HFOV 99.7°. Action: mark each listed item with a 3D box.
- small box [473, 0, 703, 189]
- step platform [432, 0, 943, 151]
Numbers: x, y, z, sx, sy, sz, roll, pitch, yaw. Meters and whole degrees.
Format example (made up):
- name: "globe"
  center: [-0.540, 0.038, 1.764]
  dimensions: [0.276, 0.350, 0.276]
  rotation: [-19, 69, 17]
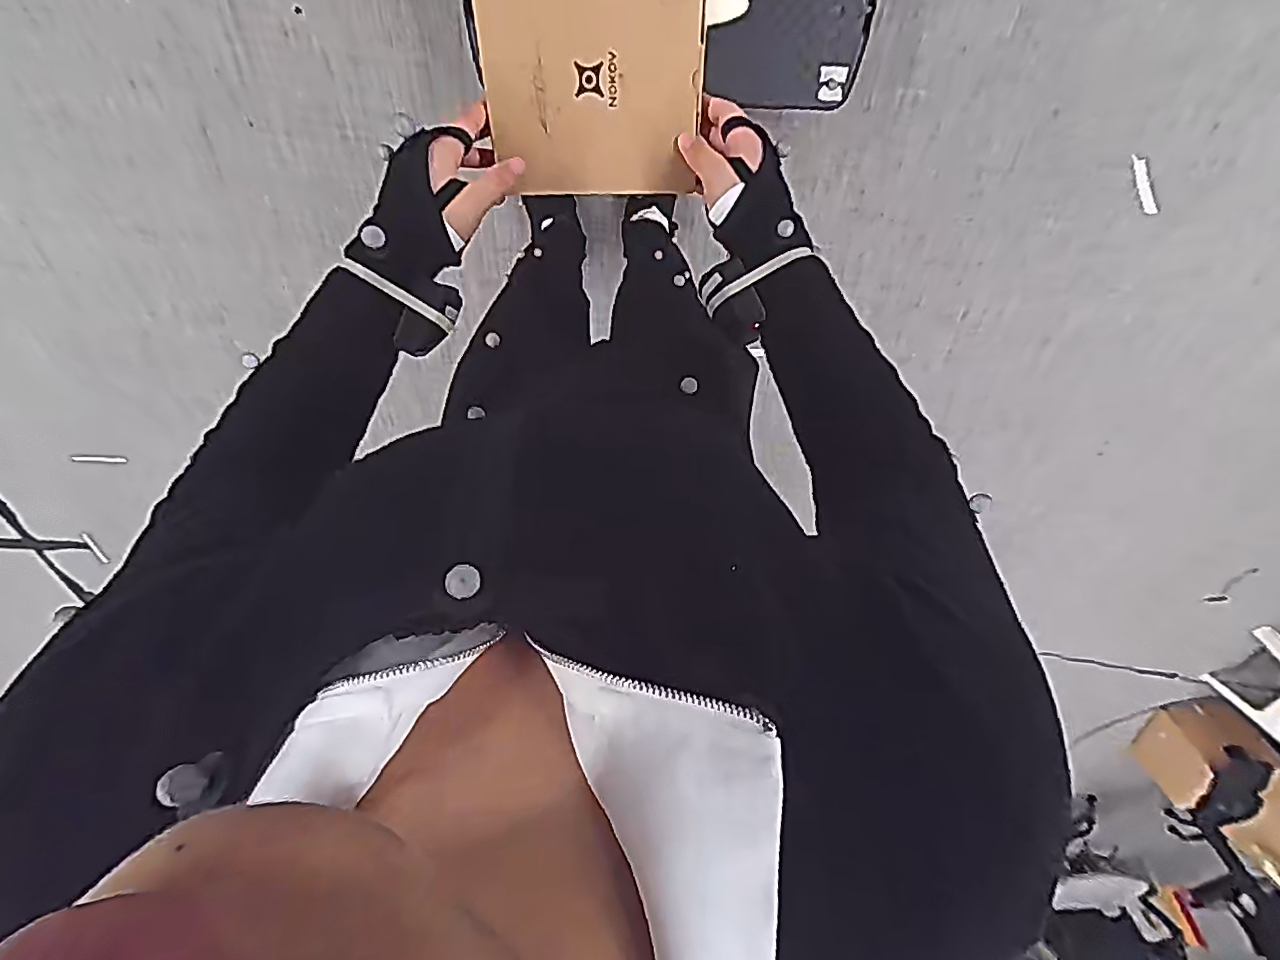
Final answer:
- name: "small box"
  center: [-0.045, -0.374, 0.498]
  dimensions: [0.179, 0.176, 0.168]
  rotation: [-3, 127, -3]
- name: "step platform"
  center: [0.059, -0.668, 0.792]
  dimensions: [0.684, 0.204, 0.286]
  rotation: [0, 128, -2]
